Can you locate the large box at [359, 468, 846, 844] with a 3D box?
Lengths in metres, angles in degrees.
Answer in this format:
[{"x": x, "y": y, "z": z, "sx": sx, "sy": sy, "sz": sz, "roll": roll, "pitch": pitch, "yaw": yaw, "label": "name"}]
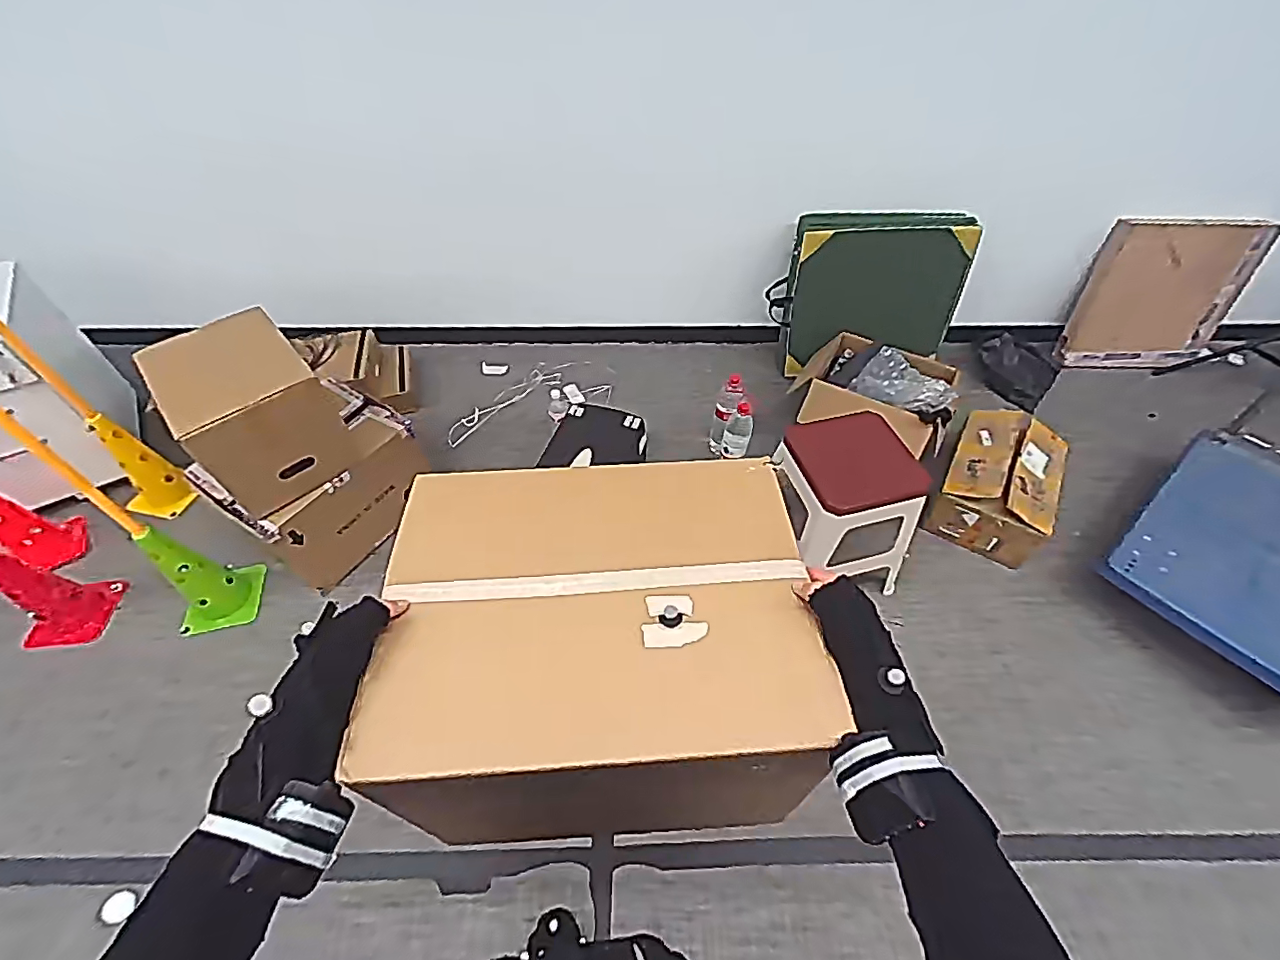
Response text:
[{"x": -0.038, "y": 0.208, "z": 0.642, "sx": 0.408, "sy": 0.320, "sz": 0.320, "roll": -2, "pitch": 48, "yaw": -3, "label": "large box"}]
